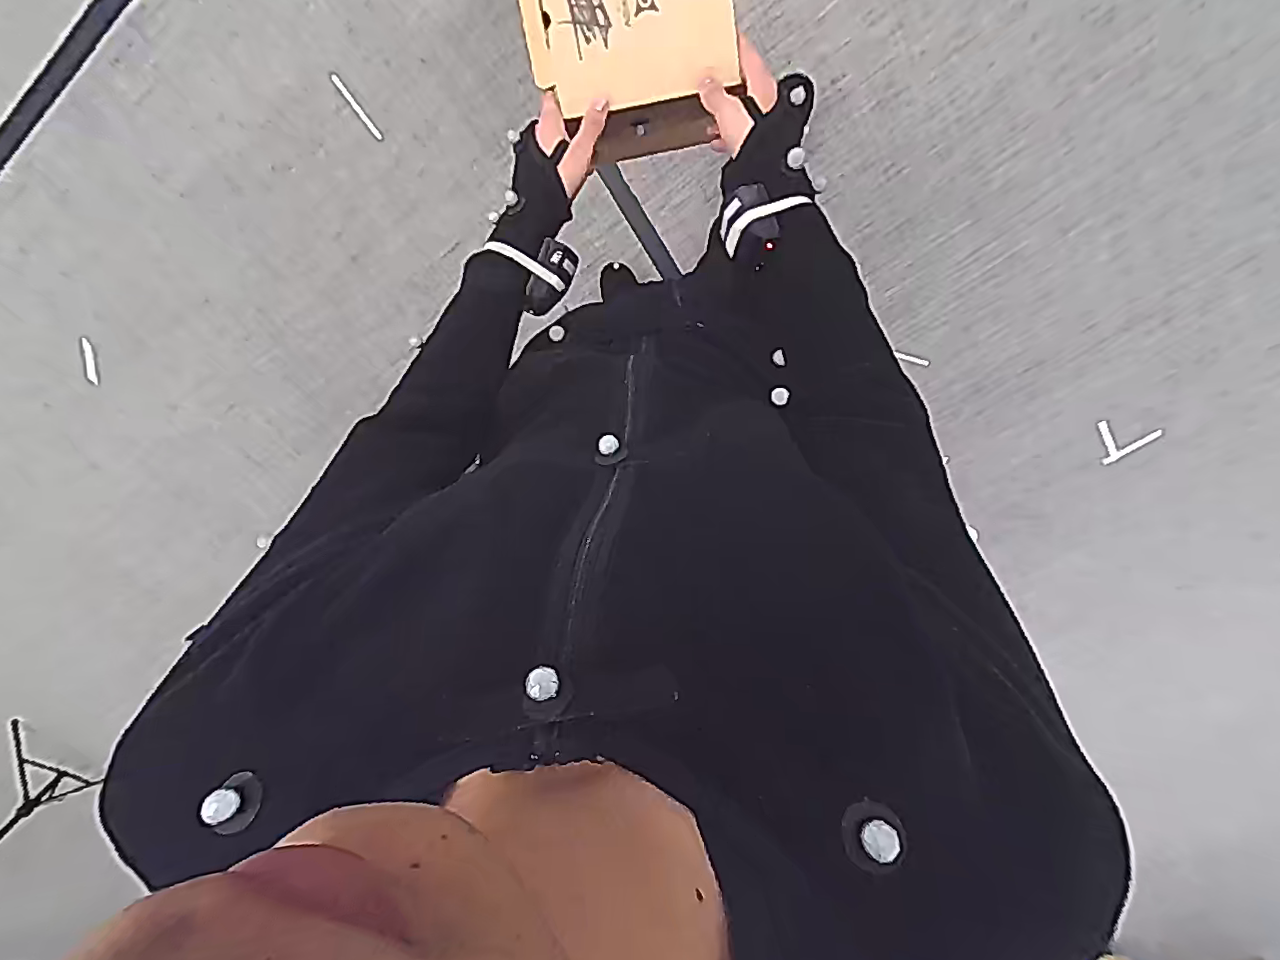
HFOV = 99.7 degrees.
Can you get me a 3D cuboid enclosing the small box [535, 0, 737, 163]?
[{"bbox_3d":[-0.006,-0.457,0.565,0.179,0.176,0.168,-10,106,3],"label":"small box"}]
